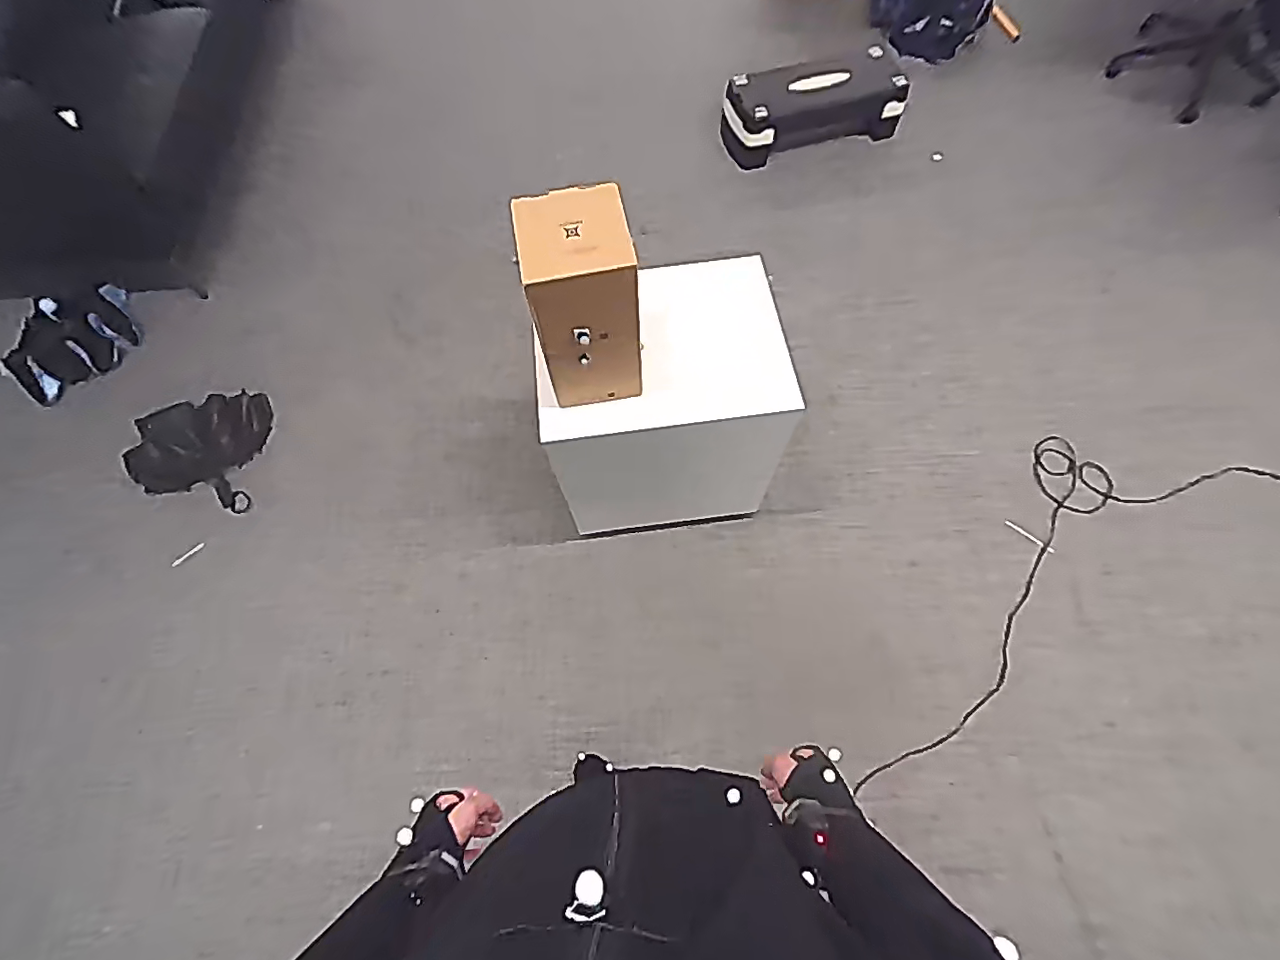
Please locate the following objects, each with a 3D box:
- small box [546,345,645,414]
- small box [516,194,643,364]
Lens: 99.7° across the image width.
[{"bbox_3d":[-0.085,-0.248,1.012,0.168,0.176,0.179,-9,65,-2],"label":"small box"},{"bbox_3d":[-0.092,-0.315,0.863,0.168,0.176,0.179,-12,66,-2],"label":"small box"}]
